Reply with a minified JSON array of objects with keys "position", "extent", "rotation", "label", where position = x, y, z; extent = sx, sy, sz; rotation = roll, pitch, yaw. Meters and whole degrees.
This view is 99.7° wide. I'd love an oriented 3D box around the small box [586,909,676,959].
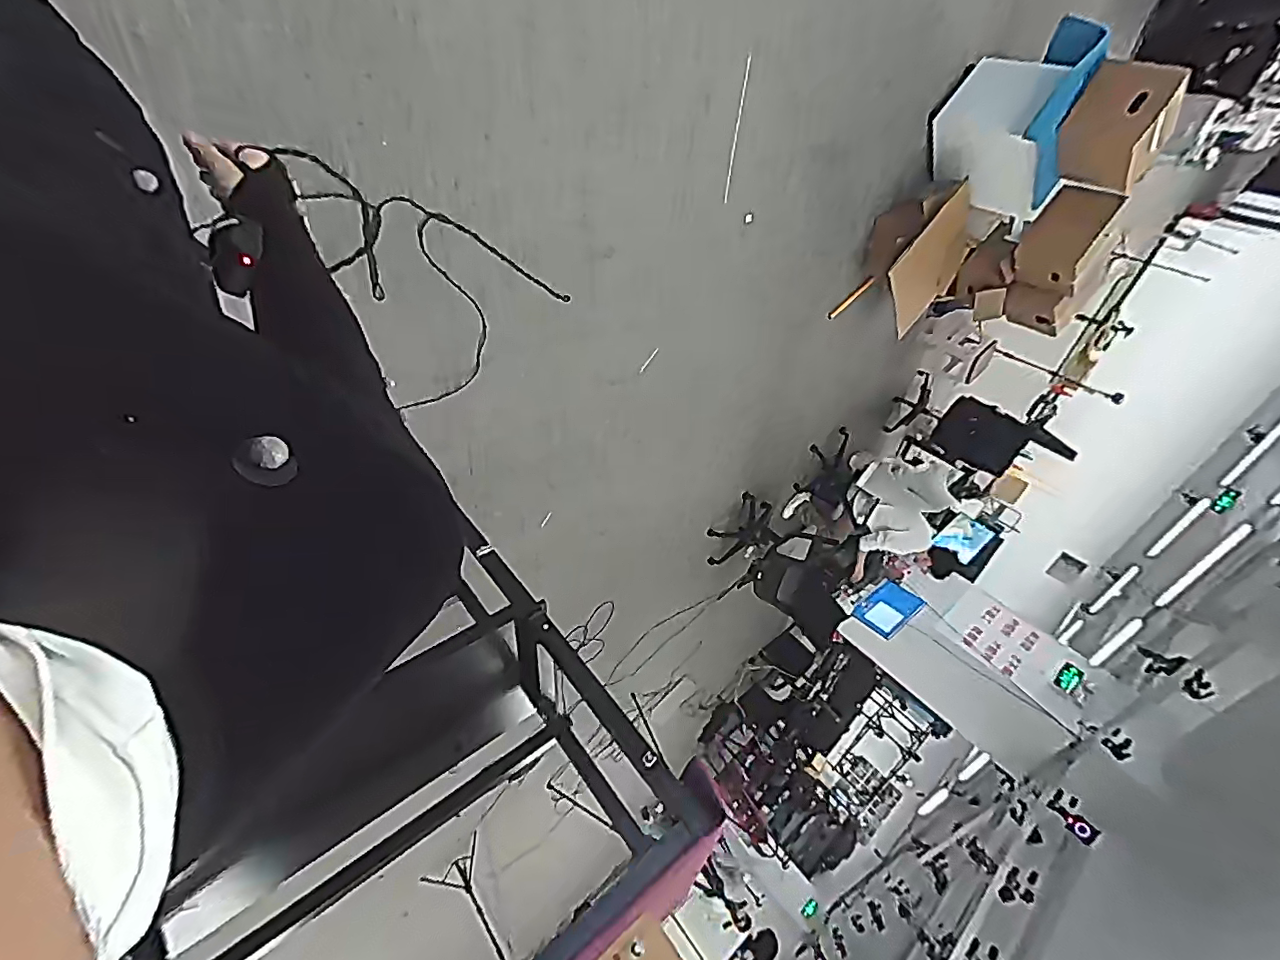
[{"position":[-0.016,1.018,1.087],"extent":[0.168,0.176,0.179],"rotation":[-23,139,-35],"label":"small box"}]
